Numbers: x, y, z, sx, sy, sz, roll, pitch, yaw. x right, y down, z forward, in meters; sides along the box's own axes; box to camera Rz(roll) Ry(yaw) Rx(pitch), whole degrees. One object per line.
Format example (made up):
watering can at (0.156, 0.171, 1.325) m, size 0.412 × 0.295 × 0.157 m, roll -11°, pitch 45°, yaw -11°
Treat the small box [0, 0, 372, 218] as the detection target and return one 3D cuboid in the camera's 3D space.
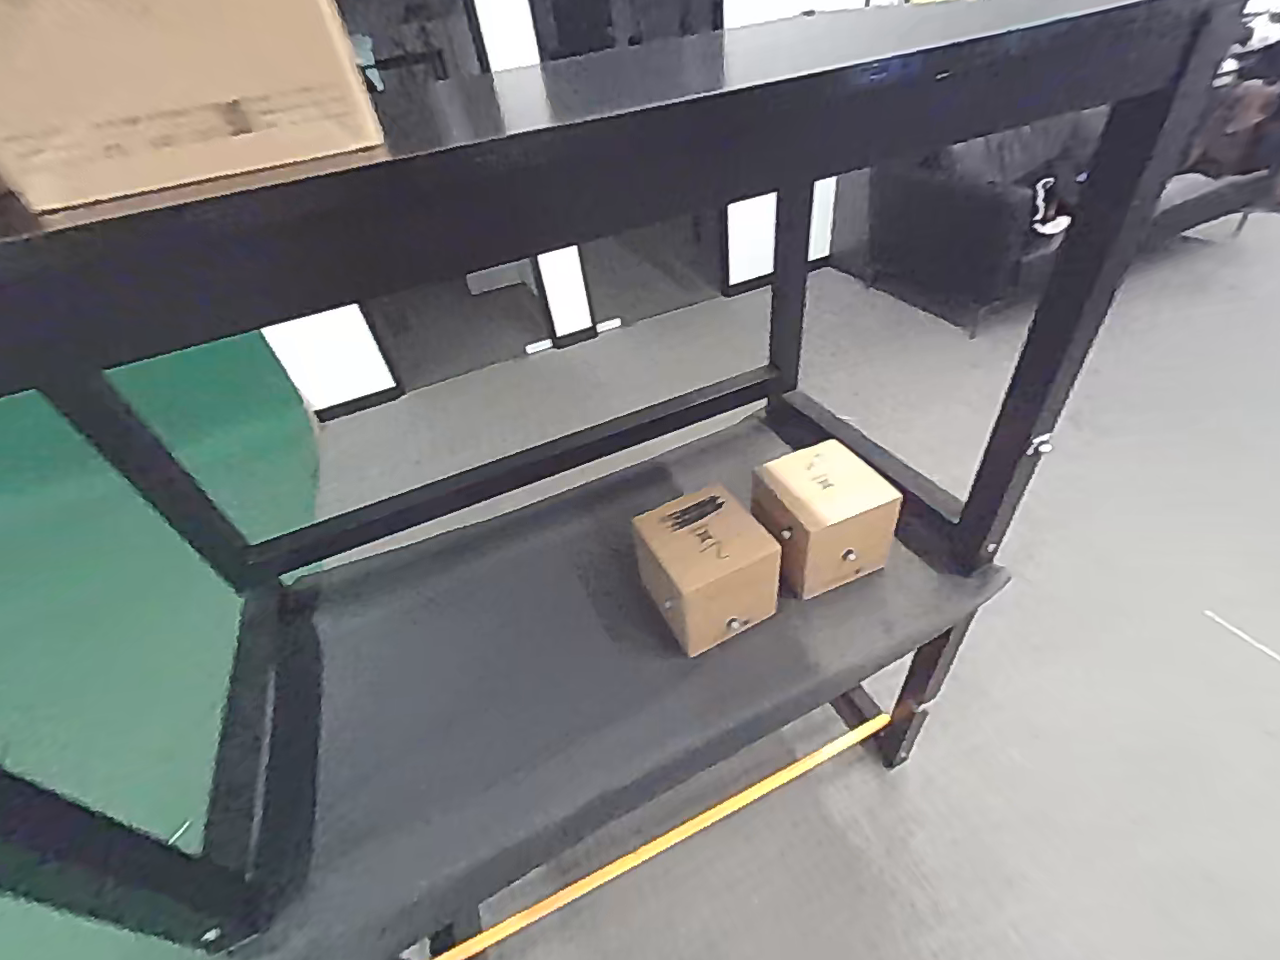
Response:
small box at (-0.266, -0.260, 0.298) m, size 0.168 × 0.176 × 0.179 m, roll -20°, pitch 41°, yaw -12°
